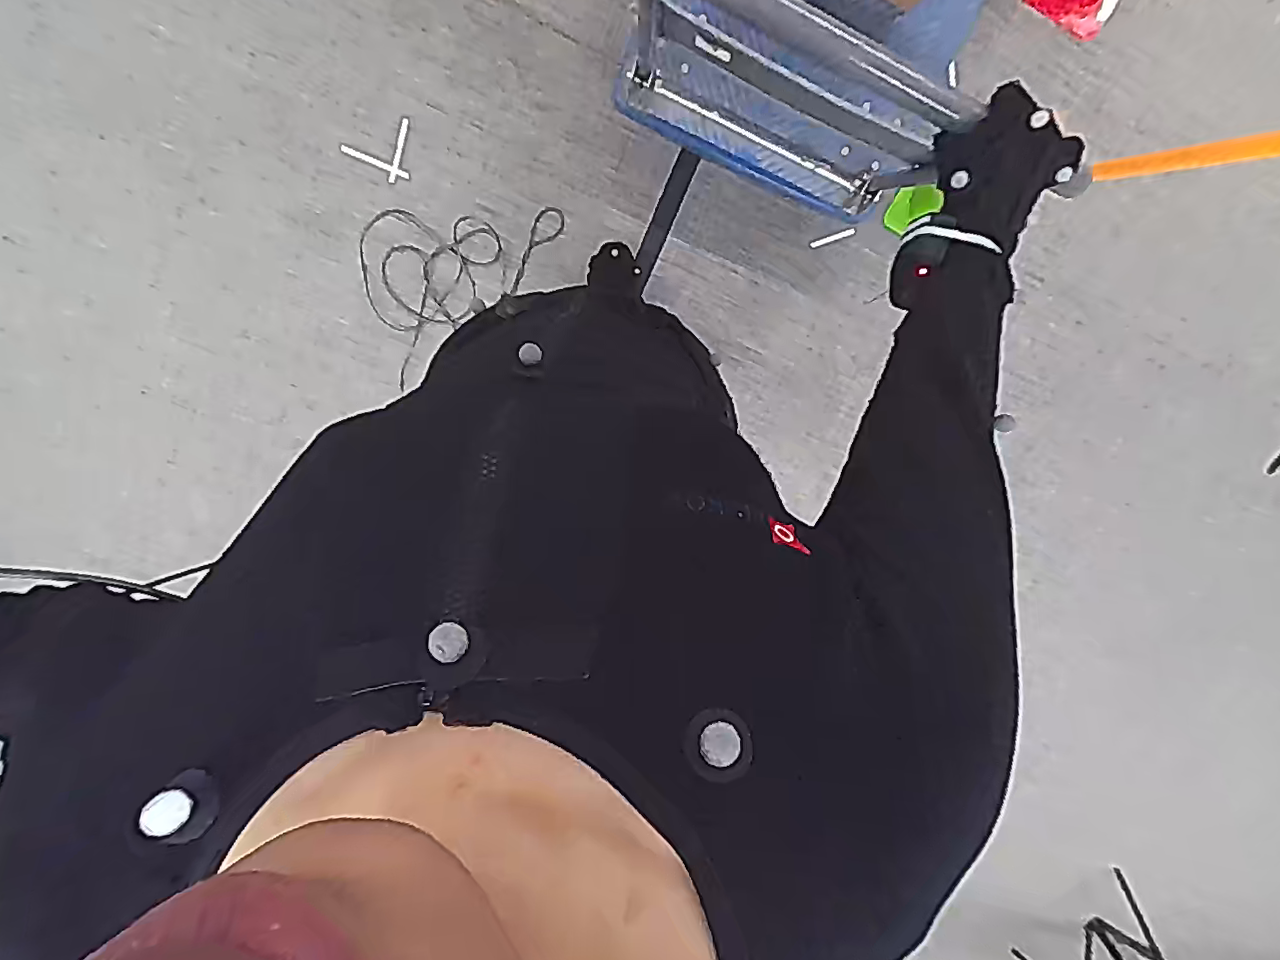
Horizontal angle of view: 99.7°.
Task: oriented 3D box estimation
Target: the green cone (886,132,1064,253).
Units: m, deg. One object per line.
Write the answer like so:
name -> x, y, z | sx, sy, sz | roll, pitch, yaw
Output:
green cone -> 0.704, -0.597, 1.100 | 0.202, 0.368, 0.200 | 25, 110, -12

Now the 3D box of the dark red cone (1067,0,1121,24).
dark red cone -> 0.918, -0.995, 0.921 | 0.201, 0.394, 0.202 | 21, 111, -11
